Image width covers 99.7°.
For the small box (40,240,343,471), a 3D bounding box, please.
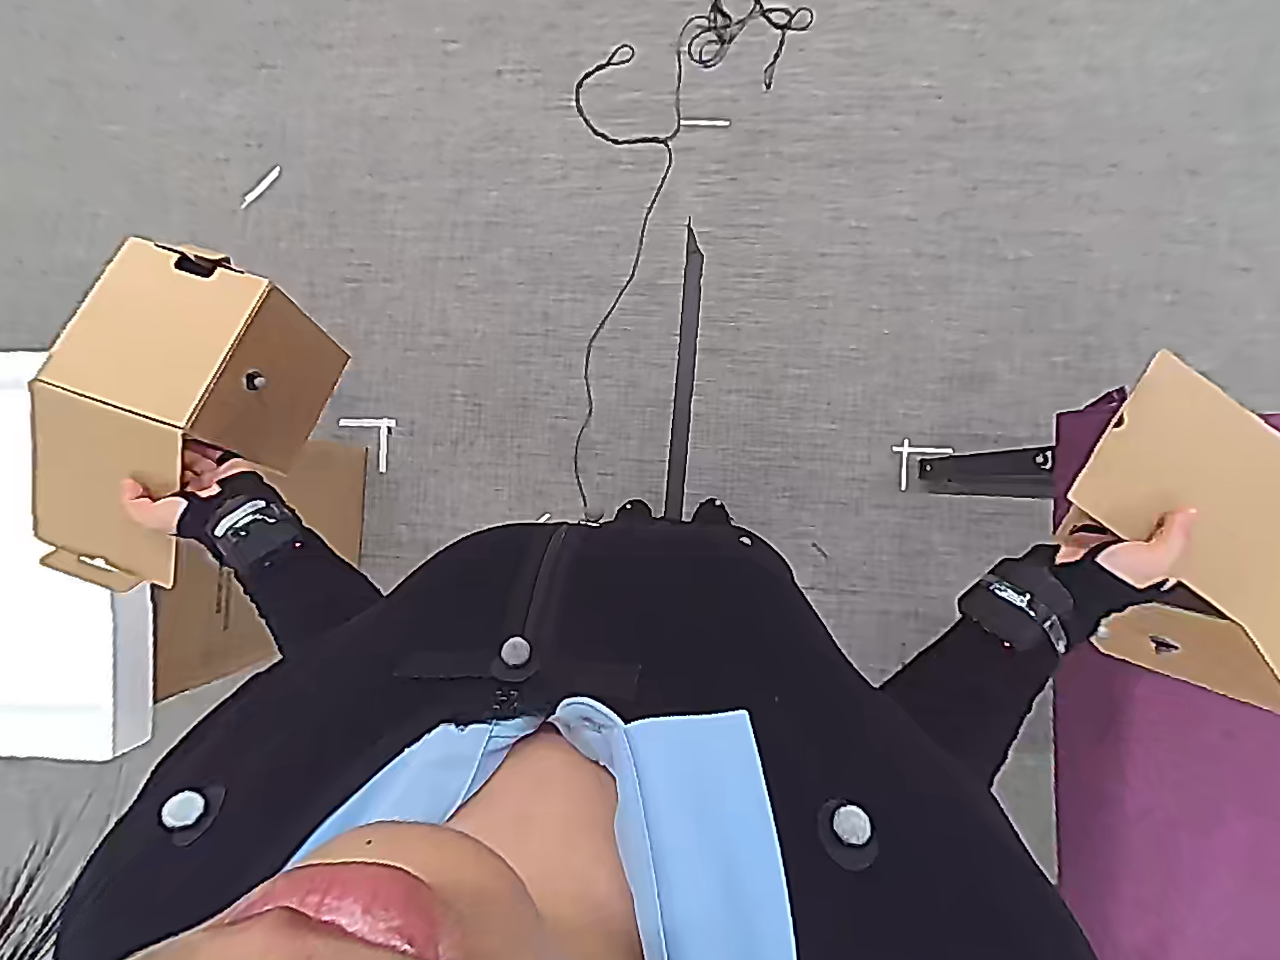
[{"bbox_3d":[-0.481,-0.128,0.617,0.168,0.176,0.179,18,74,3],"label":"small box"}]
